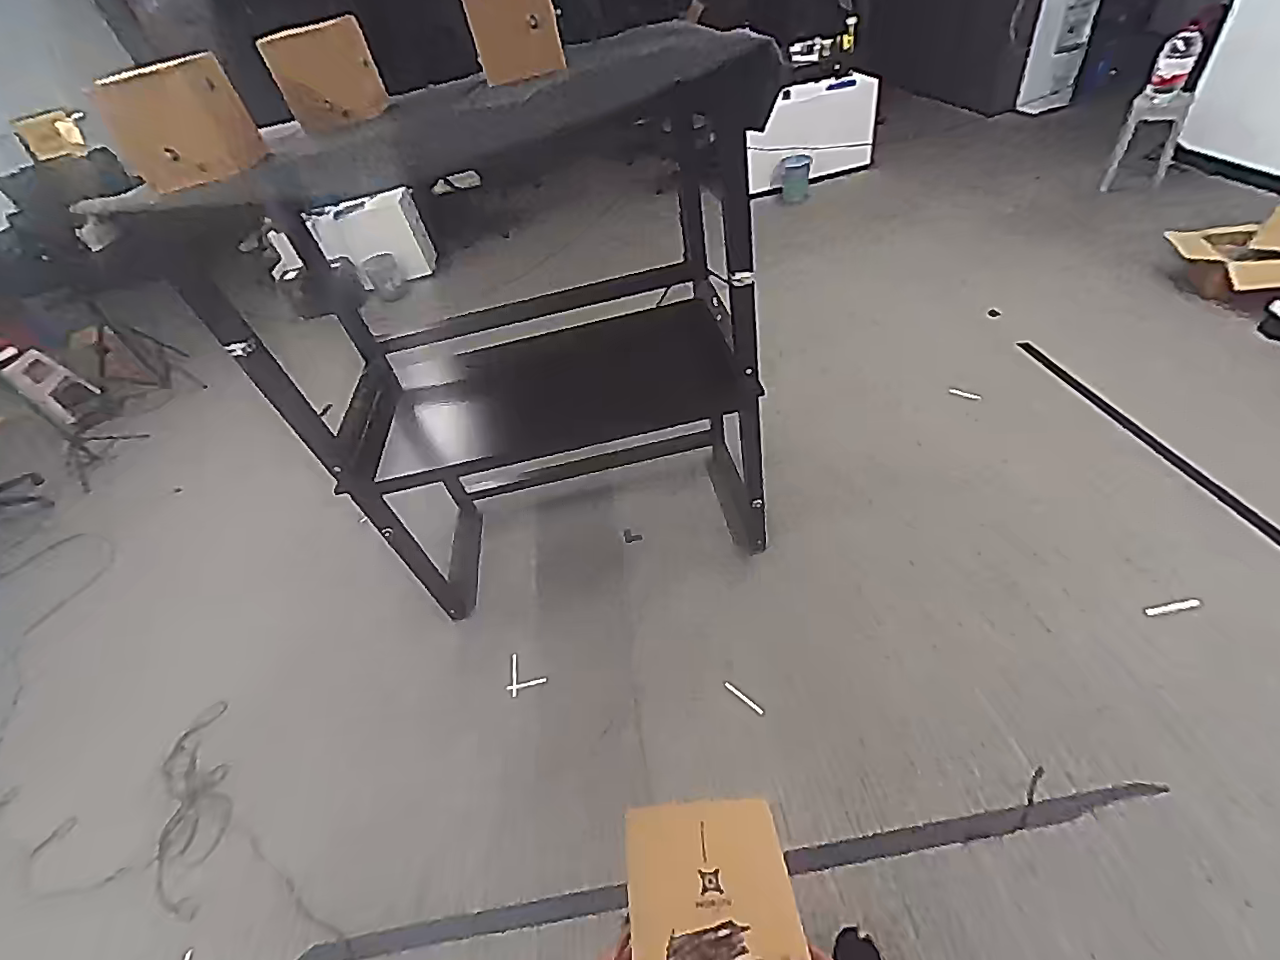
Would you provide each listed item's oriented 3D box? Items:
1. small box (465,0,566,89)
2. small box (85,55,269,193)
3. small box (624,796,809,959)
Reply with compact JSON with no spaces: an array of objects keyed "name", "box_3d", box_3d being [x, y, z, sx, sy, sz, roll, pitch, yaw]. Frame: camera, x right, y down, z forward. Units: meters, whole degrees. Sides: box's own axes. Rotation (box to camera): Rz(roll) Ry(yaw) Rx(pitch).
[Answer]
[{"name":"small box","box_3d":[-0.264,-0.989,1.187,0.179,0.176,0.168,-11,43,3]},{"name":"small box","box_3d":[-0.827,-0.653,0.994,0.168,0.176,0.179,-15,45,-1]},{"name":"small box","box_3d":[0.070,0.477,0.578,0.168,0.176,0.179,-2,30,-4]}]
